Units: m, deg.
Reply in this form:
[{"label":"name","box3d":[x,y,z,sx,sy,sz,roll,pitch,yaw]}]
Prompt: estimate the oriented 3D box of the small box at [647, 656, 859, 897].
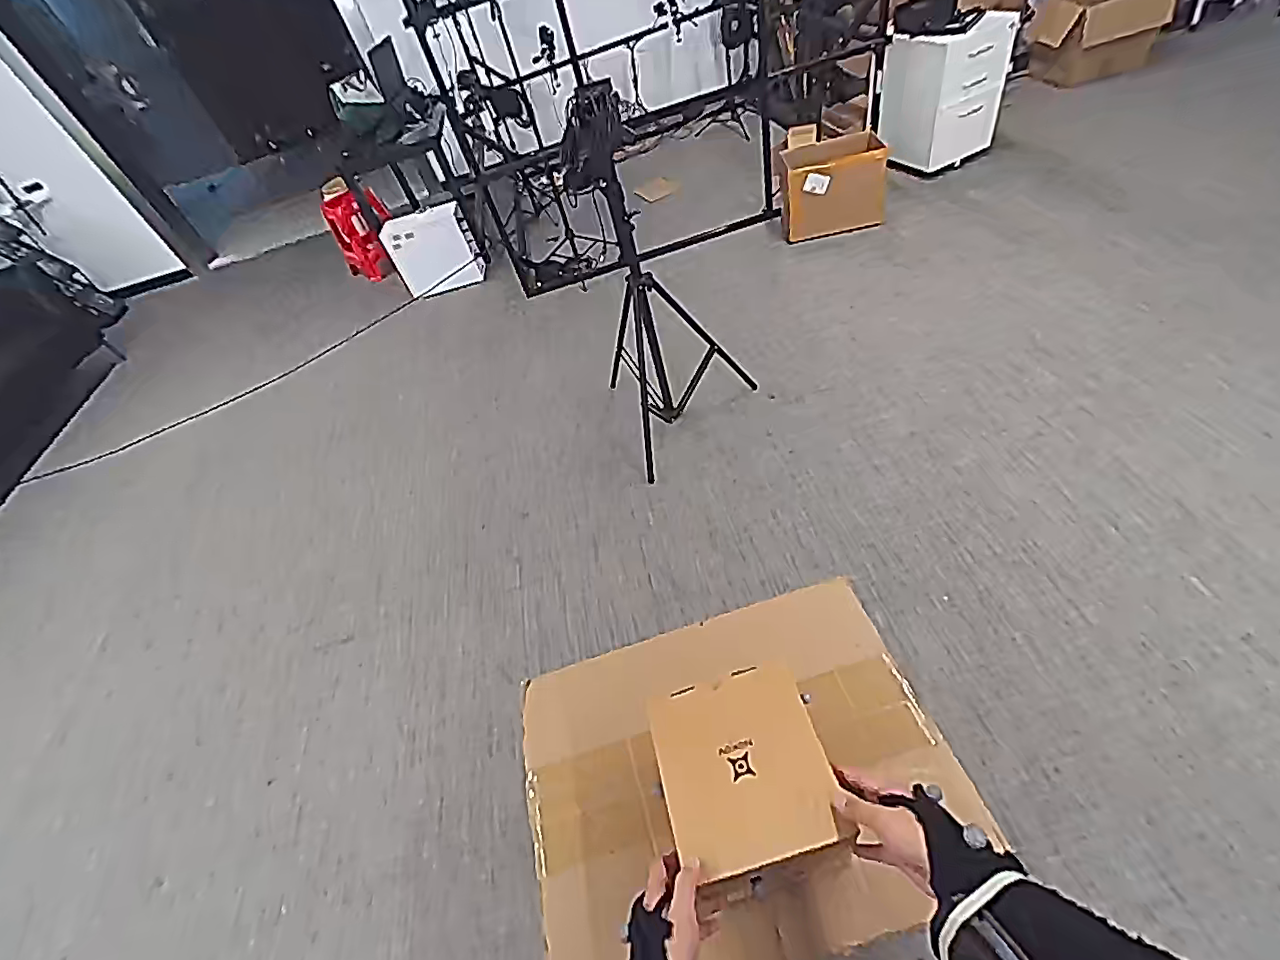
[{"label":"small box","box3d":[0.121,0.329,0.592,0.168,0.176,0.179,-19,44,1]}]
